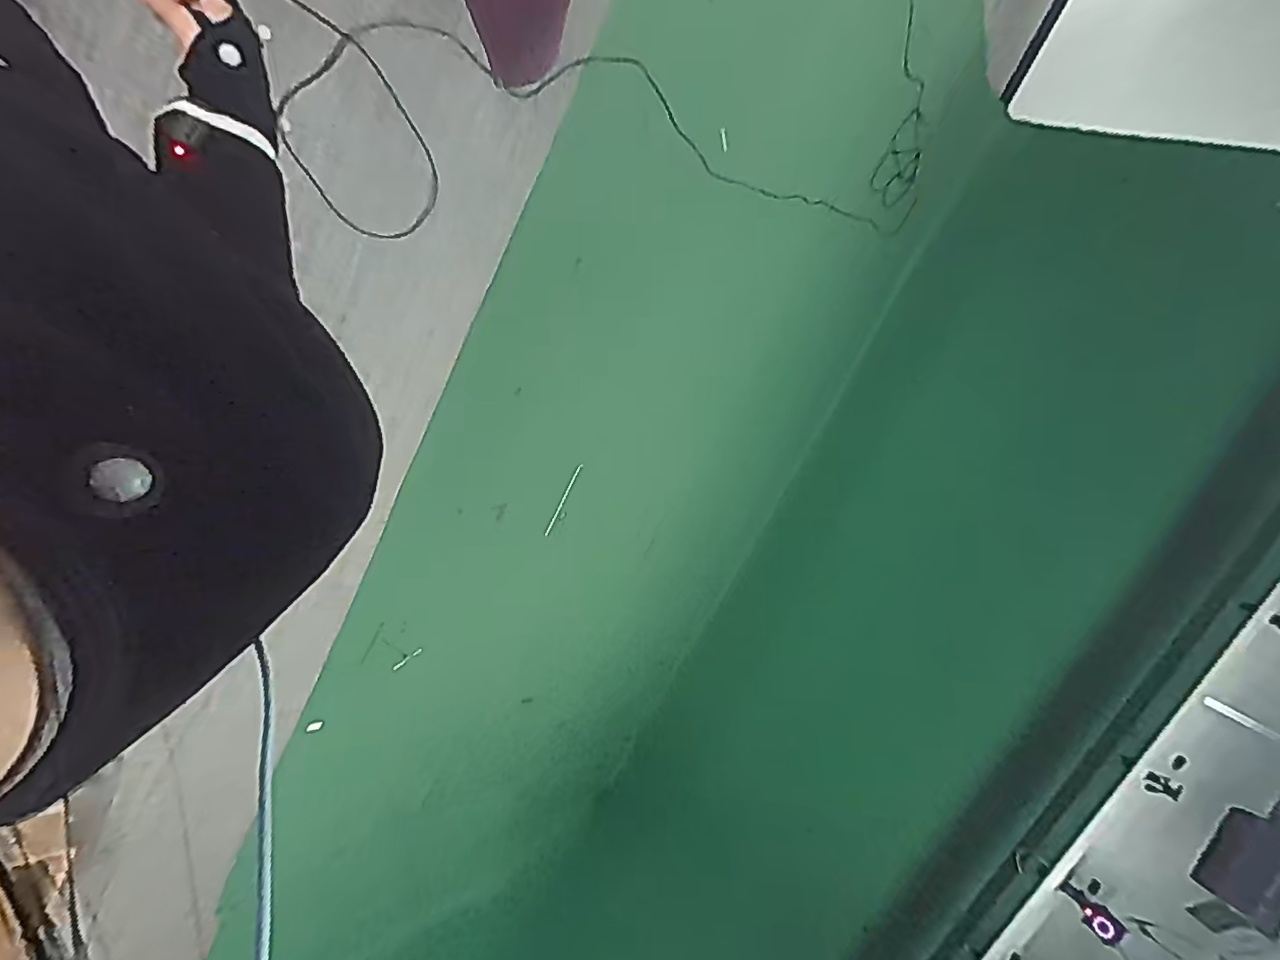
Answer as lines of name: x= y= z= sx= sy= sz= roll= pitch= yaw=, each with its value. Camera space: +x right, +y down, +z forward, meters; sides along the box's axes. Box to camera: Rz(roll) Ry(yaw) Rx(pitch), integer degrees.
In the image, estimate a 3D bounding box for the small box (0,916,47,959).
small box: x=-1.534 y=1.189 z=1.263 sx=0.179 sy=0.176 sz=0.168 roll=9 pitch=110 yaw=-54
